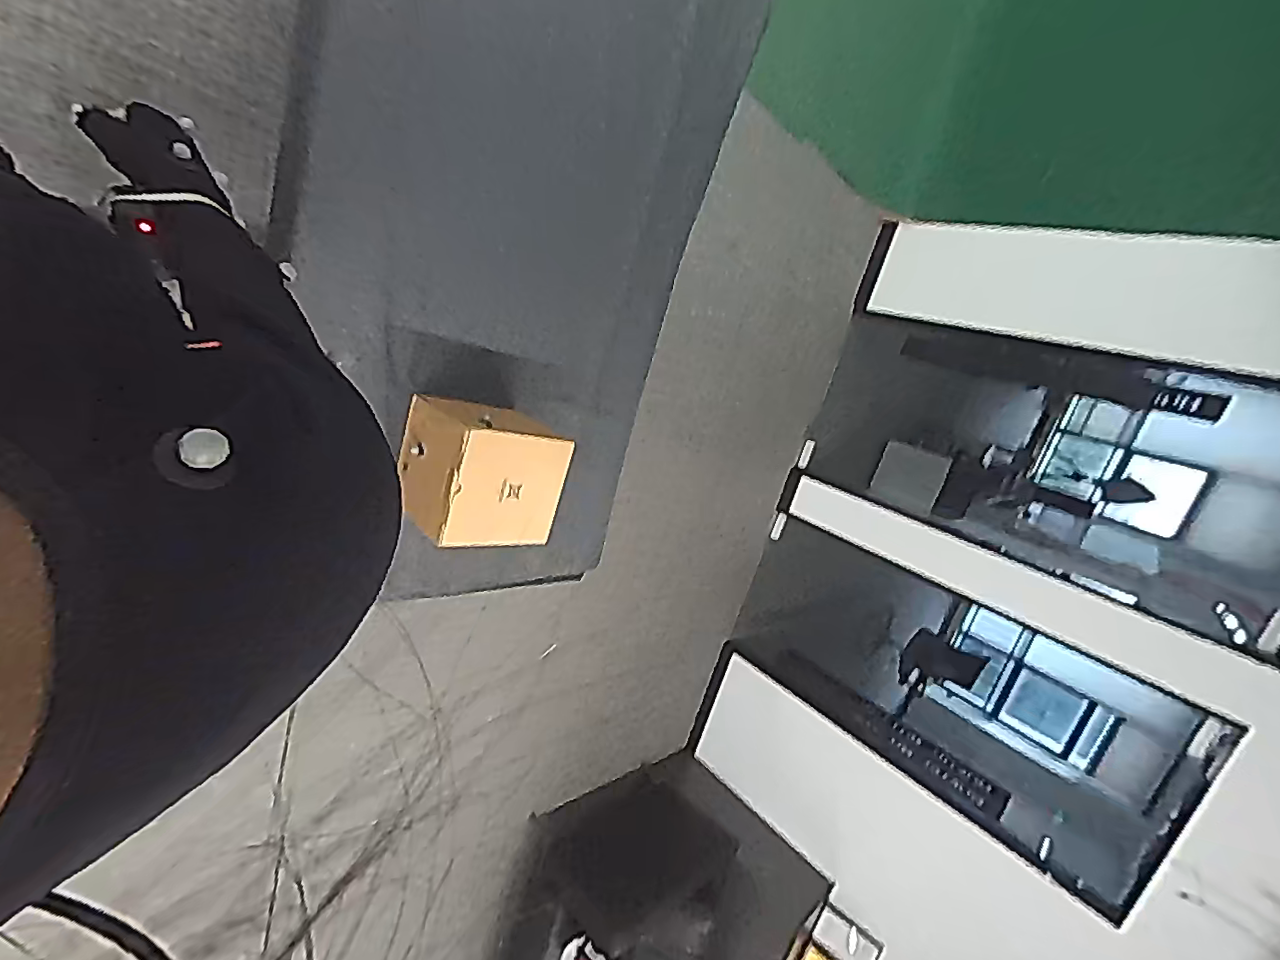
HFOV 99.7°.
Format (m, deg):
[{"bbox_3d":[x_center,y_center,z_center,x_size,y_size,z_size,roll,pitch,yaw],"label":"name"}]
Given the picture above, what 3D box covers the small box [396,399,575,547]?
[{"bbox_3d":[-0.231,-0.013,0.805,0.179,0.176,0.168,4,108,-47],"label":"small box"}]
